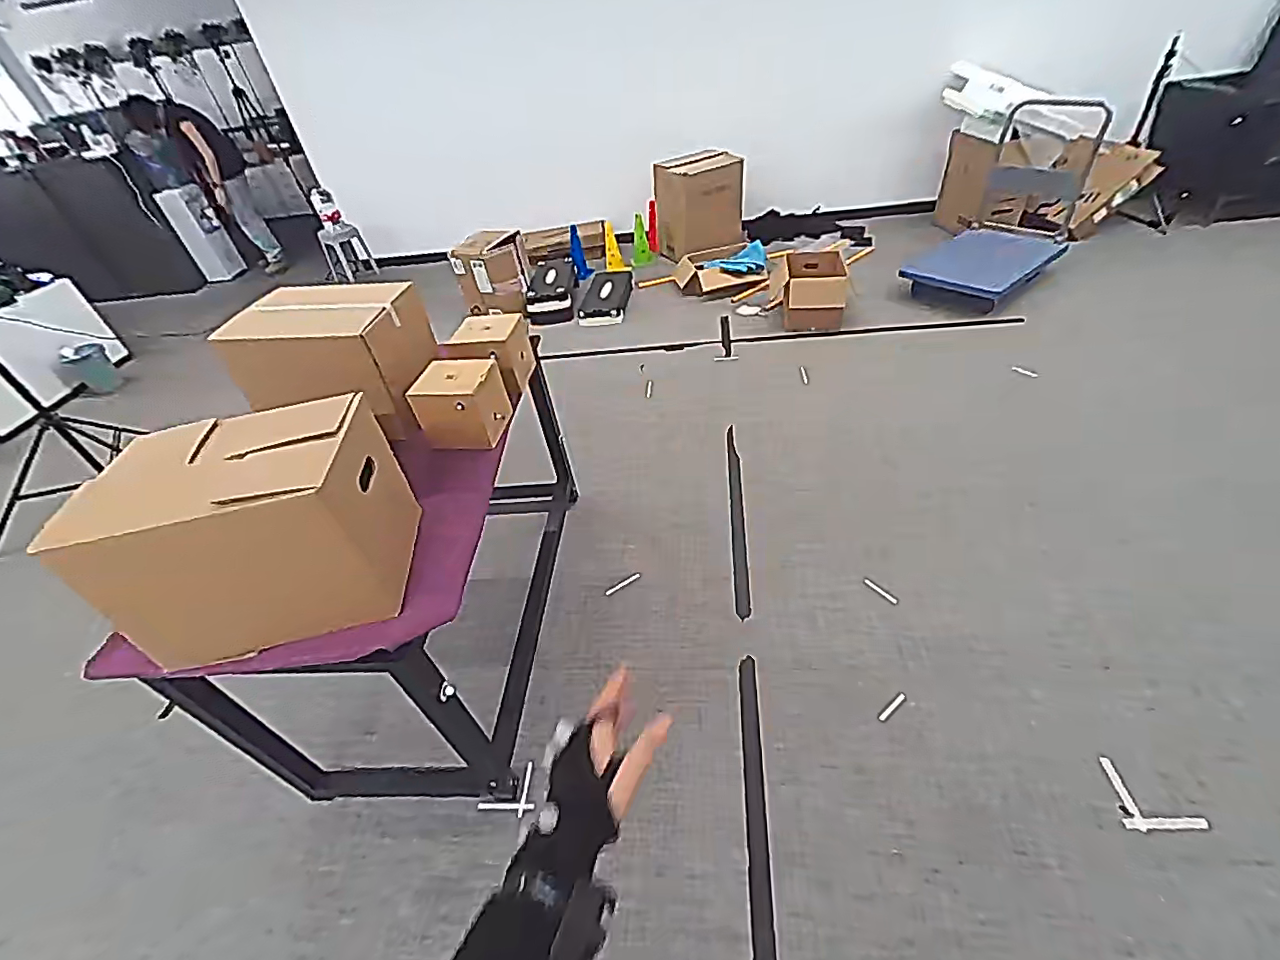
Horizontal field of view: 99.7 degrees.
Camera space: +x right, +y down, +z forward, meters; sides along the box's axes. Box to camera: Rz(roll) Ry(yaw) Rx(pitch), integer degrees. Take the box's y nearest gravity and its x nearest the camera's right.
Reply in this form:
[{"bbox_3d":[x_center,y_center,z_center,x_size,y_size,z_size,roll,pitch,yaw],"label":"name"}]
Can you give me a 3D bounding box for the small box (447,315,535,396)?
[{"bbox_3d":[-0.418,-0.357,1.562,0.179,0.176,0.168,-2,41,10],"label":"small box"}]
